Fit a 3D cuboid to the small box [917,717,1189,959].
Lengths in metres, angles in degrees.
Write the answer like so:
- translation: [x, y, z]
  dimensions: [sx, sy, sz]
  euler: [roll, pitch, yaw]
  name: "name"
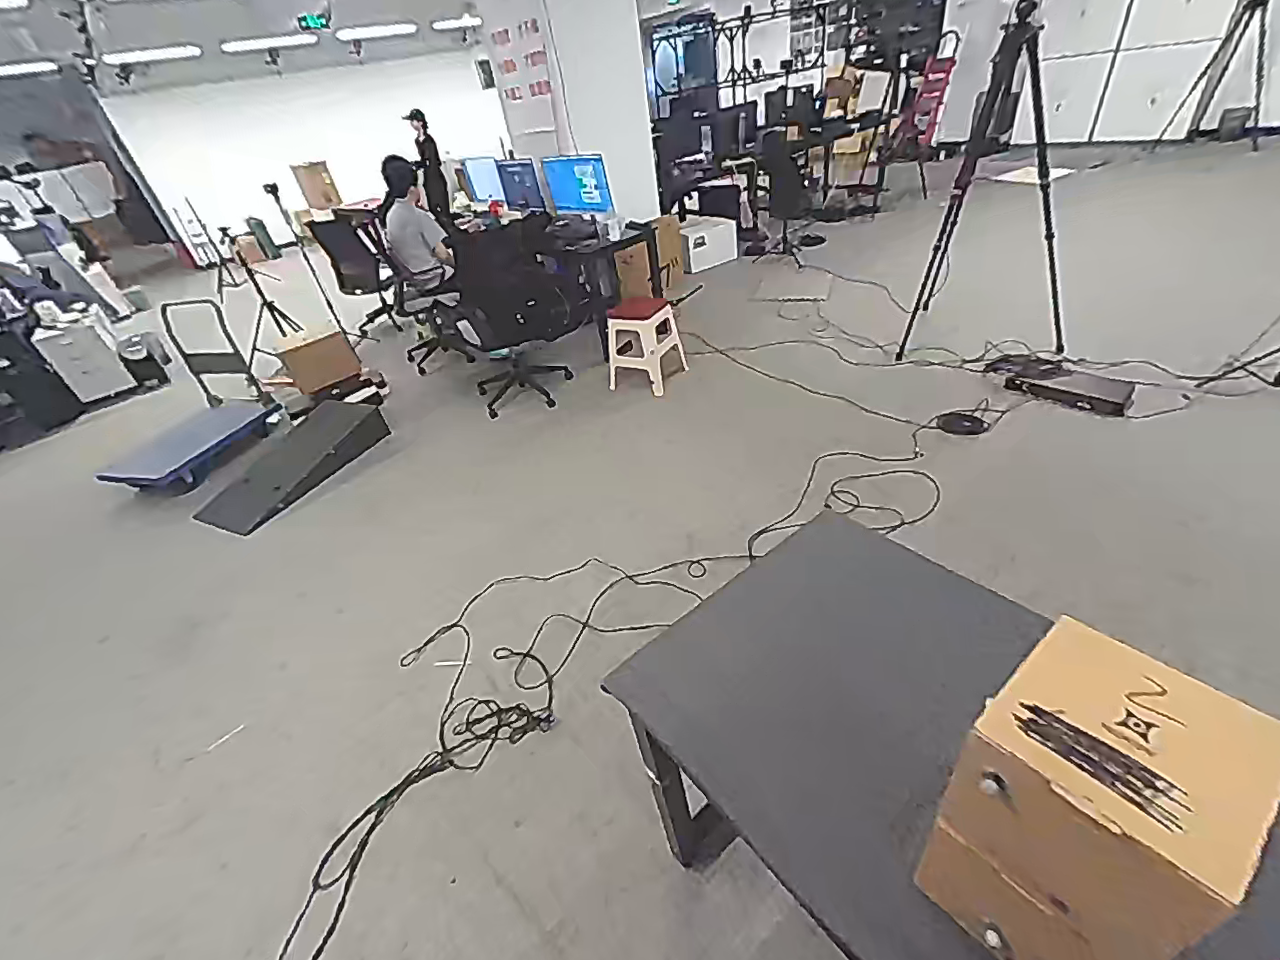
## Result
- translation: [0.424, 0.407, 0.581]
  dimensions: [0.179, 0.176, 0.168]
  euler: [-32, 41, -28]
  name: "small box"
